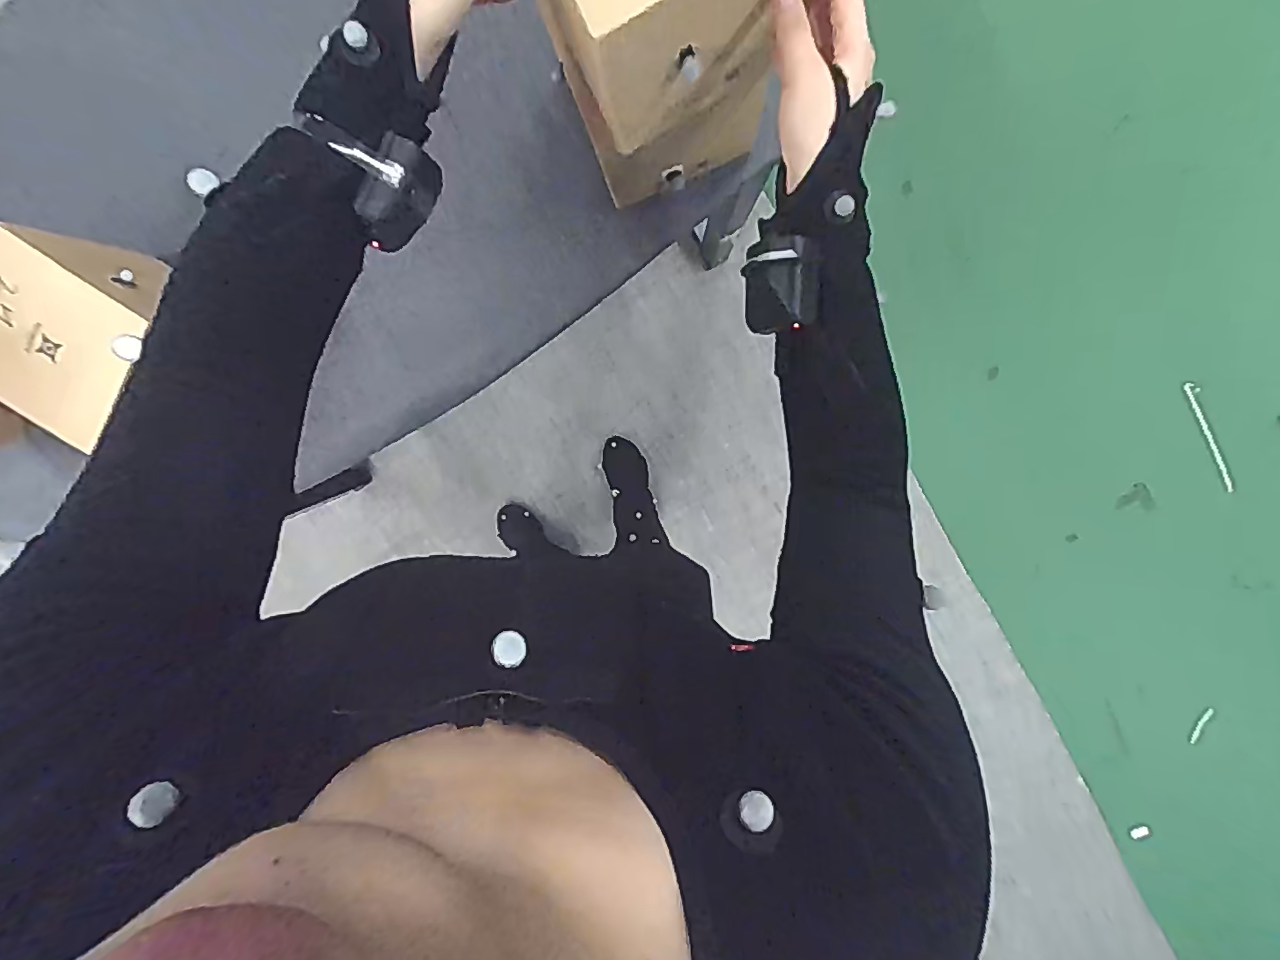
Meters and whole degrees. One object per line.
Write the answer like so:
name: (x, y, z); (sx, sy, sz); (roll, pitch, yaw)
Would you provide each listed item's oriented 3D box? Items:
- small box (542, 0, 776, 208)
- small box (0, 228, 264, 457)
small box: (0.015, -0.406, 0.530); (0.168, 0.176, 0.179); (-21, 97, 9)
small box: (-0.592, -0.152, 0.624); (0.179, 0.176, 0.168); (34, 101, -4)
